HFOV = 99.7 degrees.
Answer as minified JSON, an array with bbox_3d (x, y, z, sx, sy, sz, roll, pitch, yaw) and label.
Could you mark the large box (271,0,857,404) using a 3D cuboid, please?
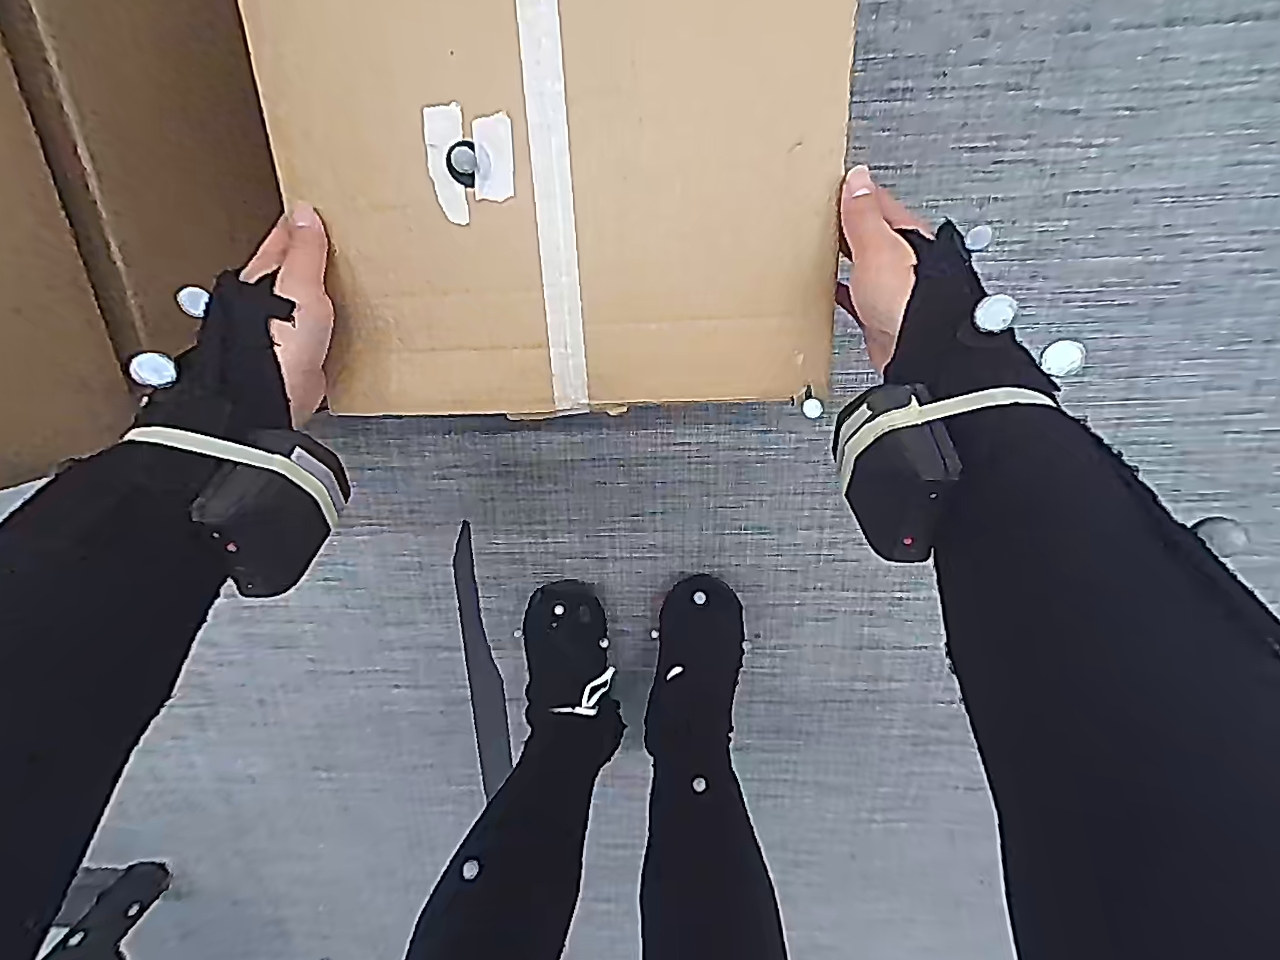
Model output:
[{"bbox_3d":[-0.037,-0.294,0.422,0.320,0.320,0.408,-2,109,4],"label":"large box"}]
